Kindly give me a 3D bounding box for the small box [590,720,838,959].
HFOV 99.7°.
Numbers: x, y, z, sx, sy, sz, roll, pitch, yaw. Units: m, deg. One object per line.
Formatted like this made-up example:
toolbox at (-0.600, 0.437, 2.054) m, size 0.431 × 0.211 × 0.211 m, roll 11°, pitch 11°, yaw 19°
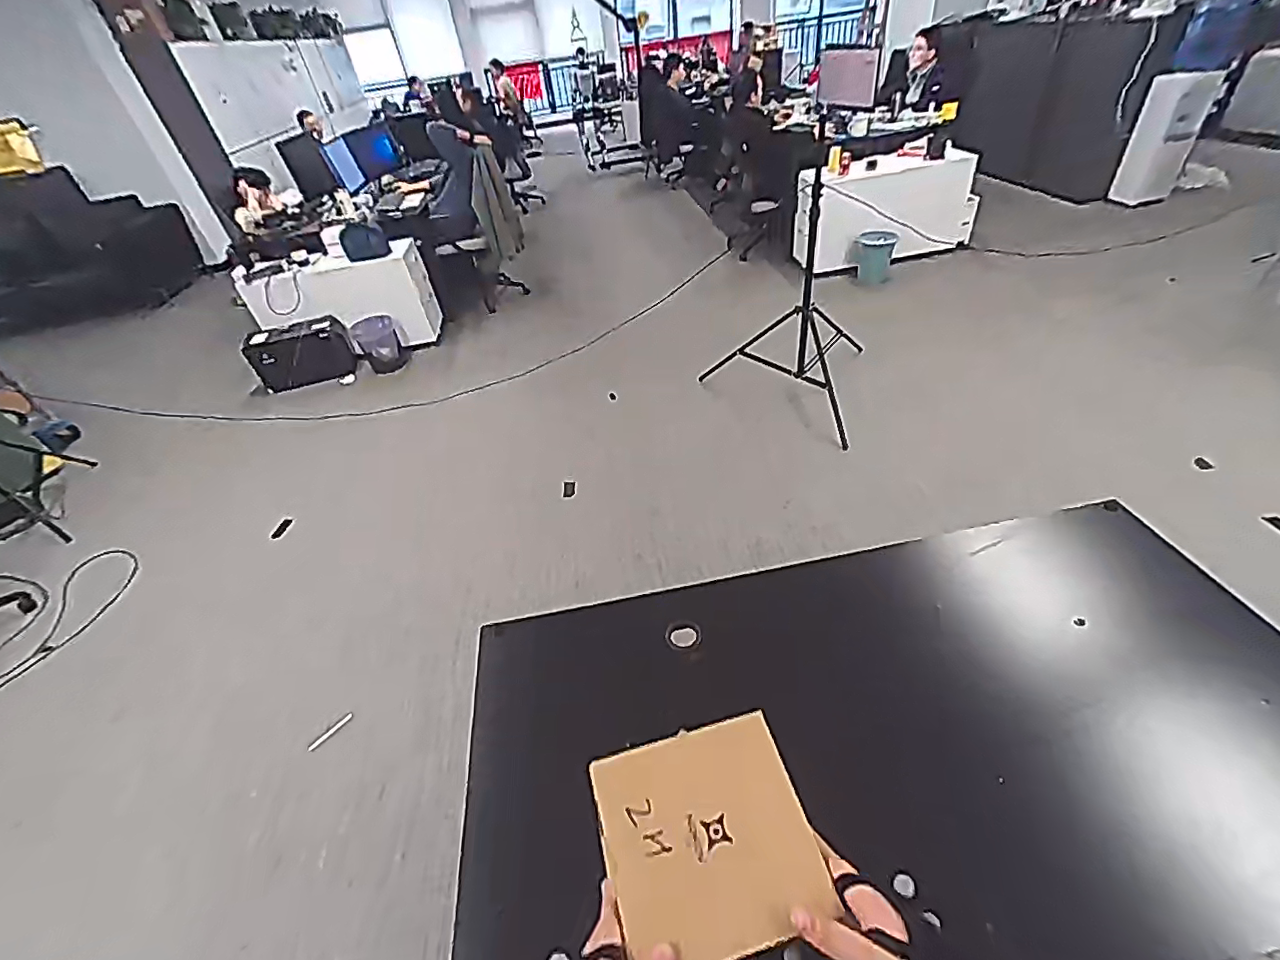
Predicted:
small box at (0.059, 0.365, 0.526) m, size 0.179 × 0.176 × 0.168 m, roll -14°, pitch 47°, yaw -8°
